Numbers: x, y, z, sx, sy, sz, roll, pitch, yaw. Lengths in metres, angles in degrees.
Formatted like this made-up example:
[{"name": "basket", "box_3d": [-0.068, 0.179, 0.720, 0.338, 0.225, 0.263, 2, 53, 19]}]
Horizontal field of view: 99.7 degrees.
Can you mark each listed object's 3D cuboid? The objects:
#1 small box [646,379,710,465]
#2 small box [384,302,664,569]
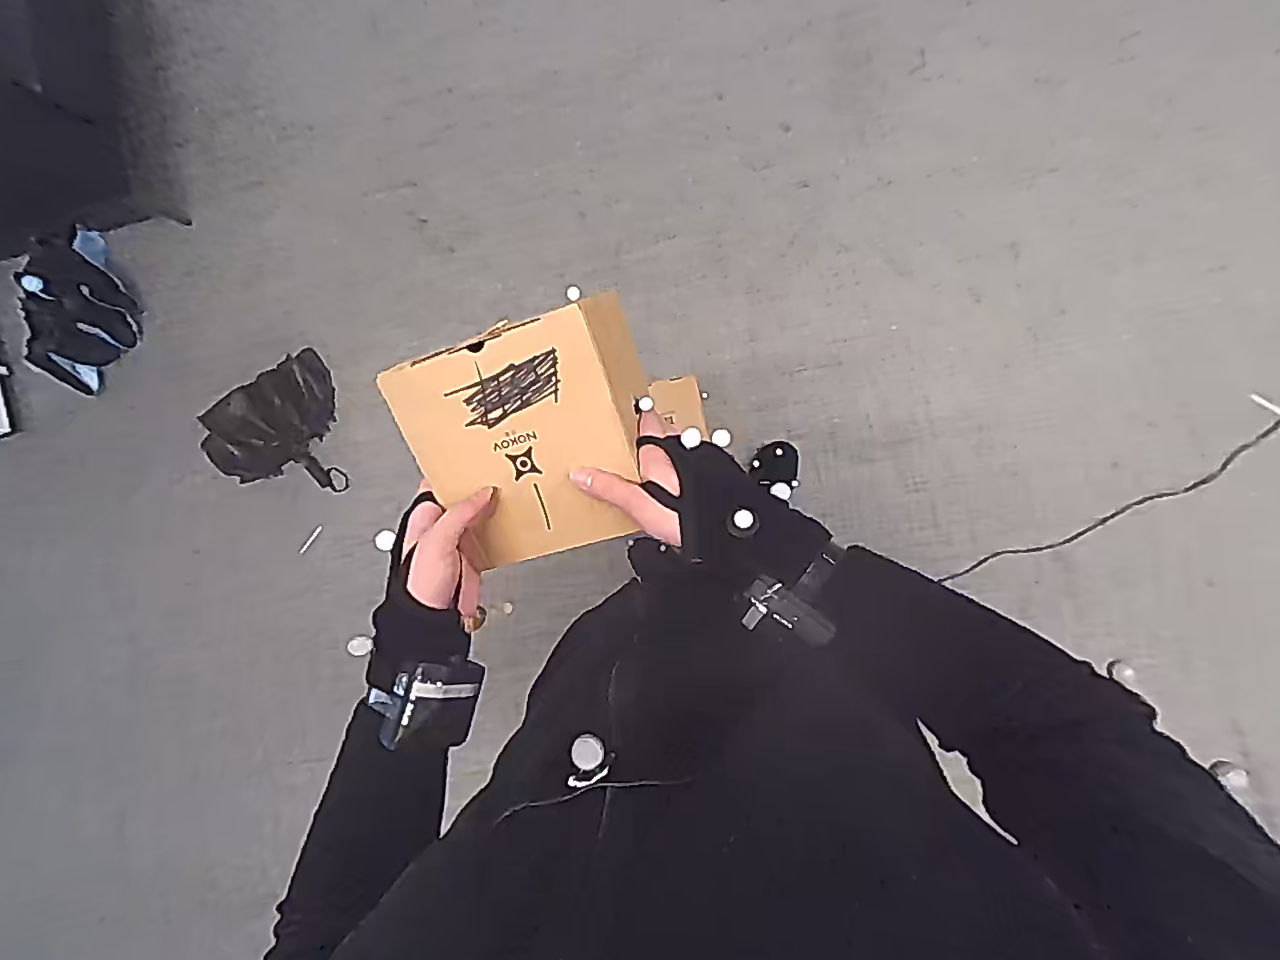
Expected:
[{"name": "small box", "box_3d": [0.074, -0.133, 1.330, 0.168, 0.176, 0.179, -14, 90, 9]}, {"name": "small box", "box_3d": [-0.083, -0.051, 0.489, 0.168, 0.176, 0.179, -16, 109, 12]}]
